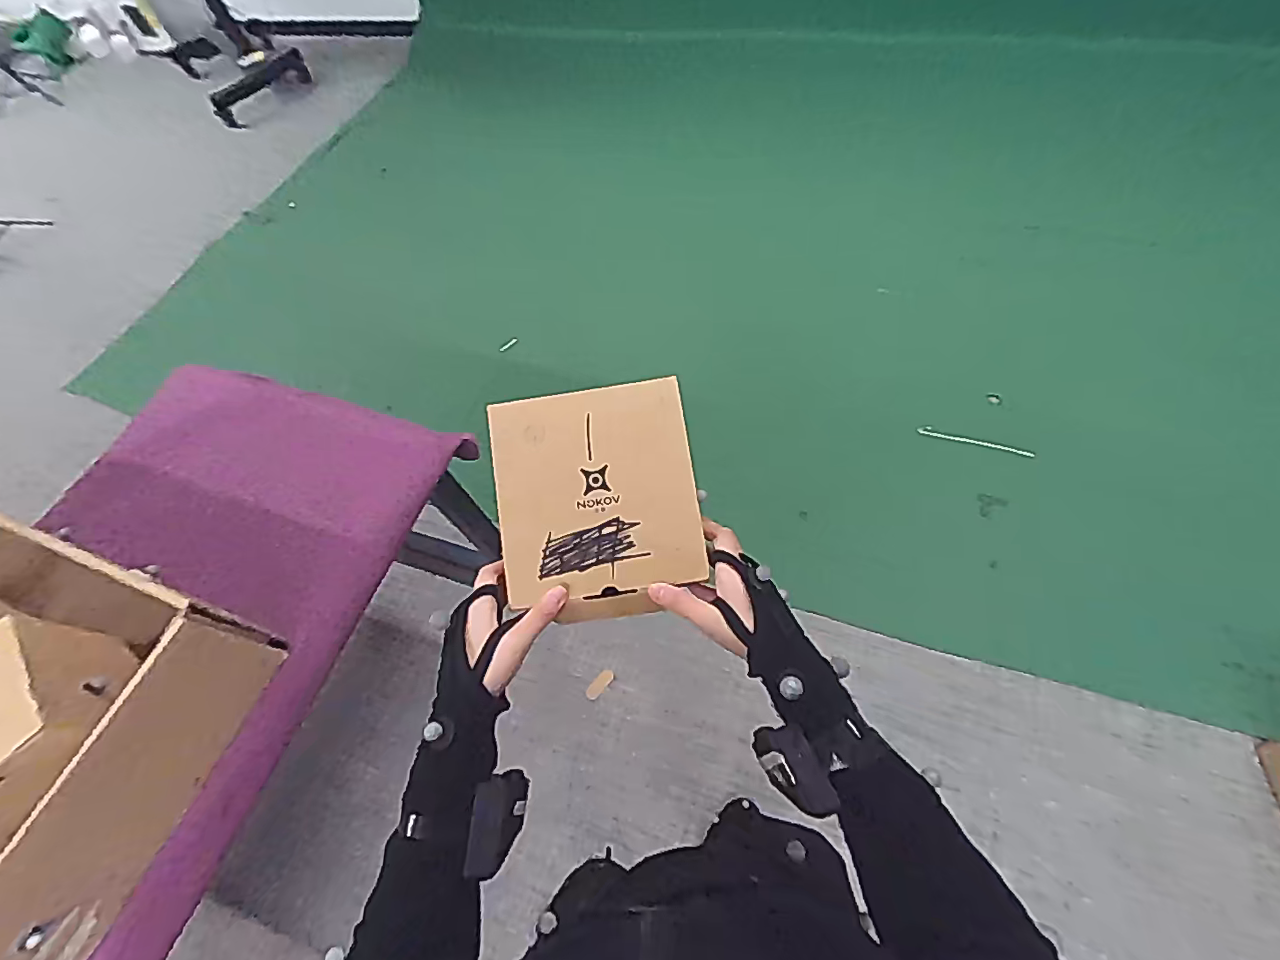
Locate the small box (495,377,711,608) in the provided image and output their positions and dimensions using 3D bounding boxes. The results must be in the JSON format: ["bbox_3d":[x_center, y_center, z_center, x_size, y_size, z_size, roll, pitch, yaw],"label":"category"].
[{"bbox_3d":[-0.029,0.020,0.524,0.168,0.176,0.179,-8,80,0],"label":"small box"}]
